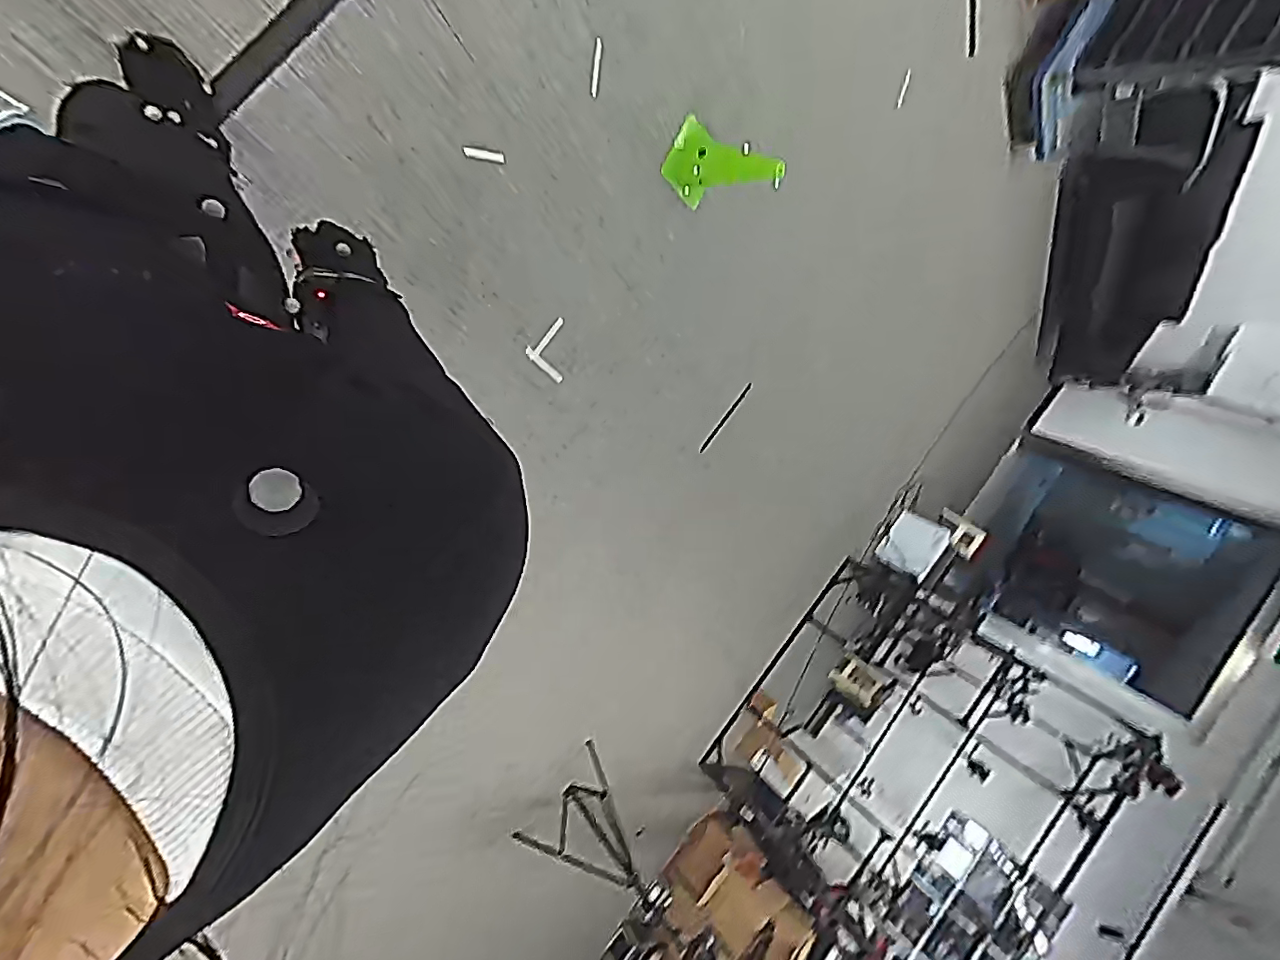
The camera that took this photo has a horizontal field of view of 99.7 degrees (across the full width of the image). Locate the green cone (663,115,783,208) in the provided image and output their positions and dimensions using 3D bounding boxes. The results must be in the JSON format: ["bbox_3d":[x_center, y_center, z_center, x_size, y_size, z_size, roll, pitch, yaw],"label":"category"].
[{"bbox_3d":[0.276,-0.935,1.616,0.200,0.368,0.202,20,102,-49],"label":"green cone"}]
